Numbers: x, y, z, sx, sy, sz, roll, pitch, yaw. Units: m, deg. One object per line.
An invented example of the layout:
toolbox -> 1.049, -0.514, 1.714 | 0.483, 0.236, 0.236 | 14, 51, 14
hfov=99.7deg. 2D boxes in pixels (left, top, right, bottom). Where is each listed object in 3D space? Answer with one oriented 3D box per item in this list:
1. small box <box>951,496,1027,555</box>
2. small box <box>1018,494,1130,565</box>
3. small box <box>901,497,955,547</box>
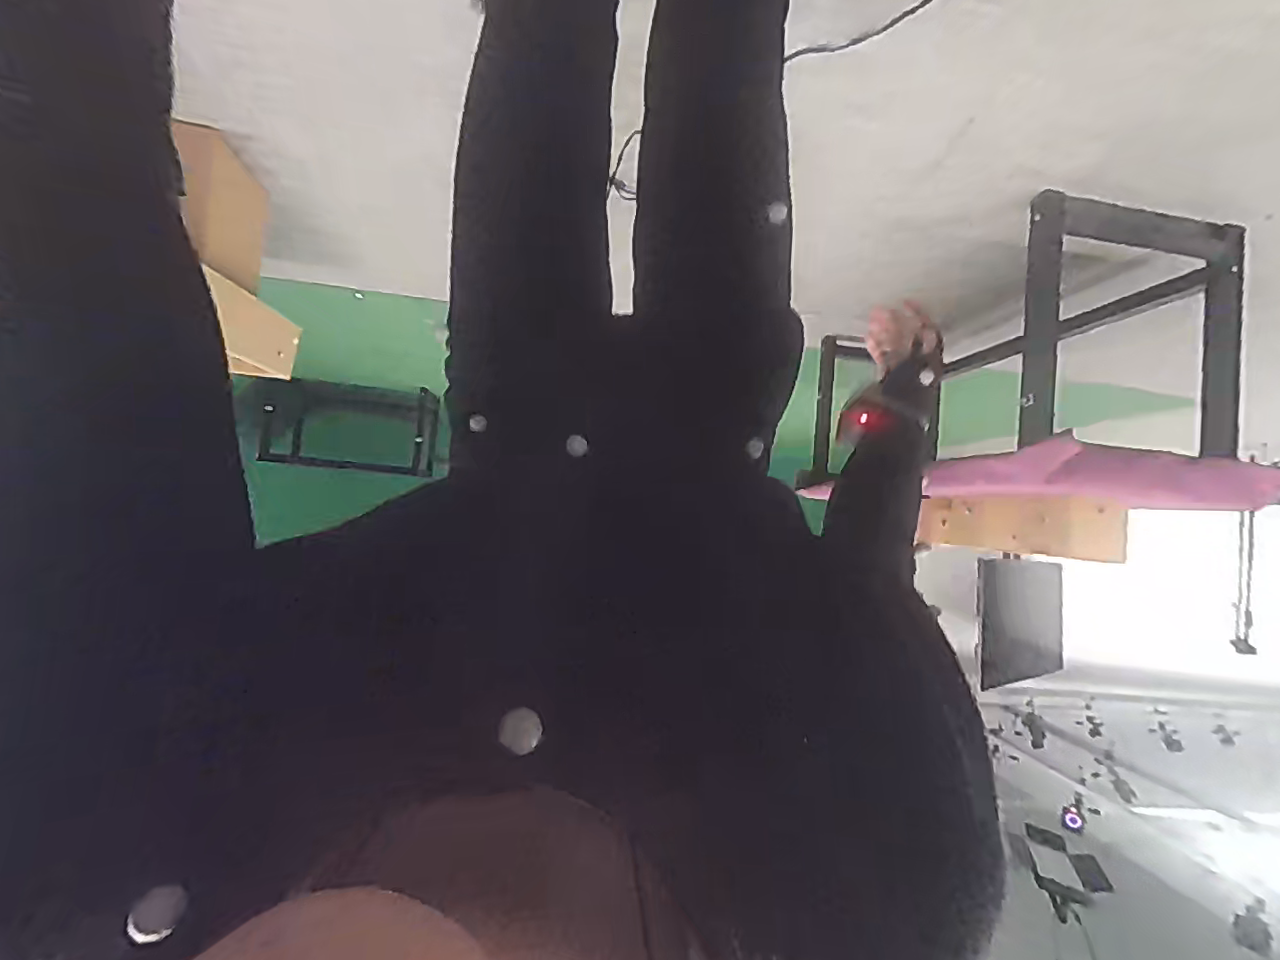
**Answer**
small box -> 1.131, 0.143, 1.724 | 0.179, 0.176, 0.168 | 6, 176, -3
small box -> 1.166, 0.129, 1.459 | 0.179, 0.176, 0.168 | 7, 177, -8
small box -> 1.086, 0.154, 1.980 | 0.168, 0.176, 0.179 | 7, 176, -11
